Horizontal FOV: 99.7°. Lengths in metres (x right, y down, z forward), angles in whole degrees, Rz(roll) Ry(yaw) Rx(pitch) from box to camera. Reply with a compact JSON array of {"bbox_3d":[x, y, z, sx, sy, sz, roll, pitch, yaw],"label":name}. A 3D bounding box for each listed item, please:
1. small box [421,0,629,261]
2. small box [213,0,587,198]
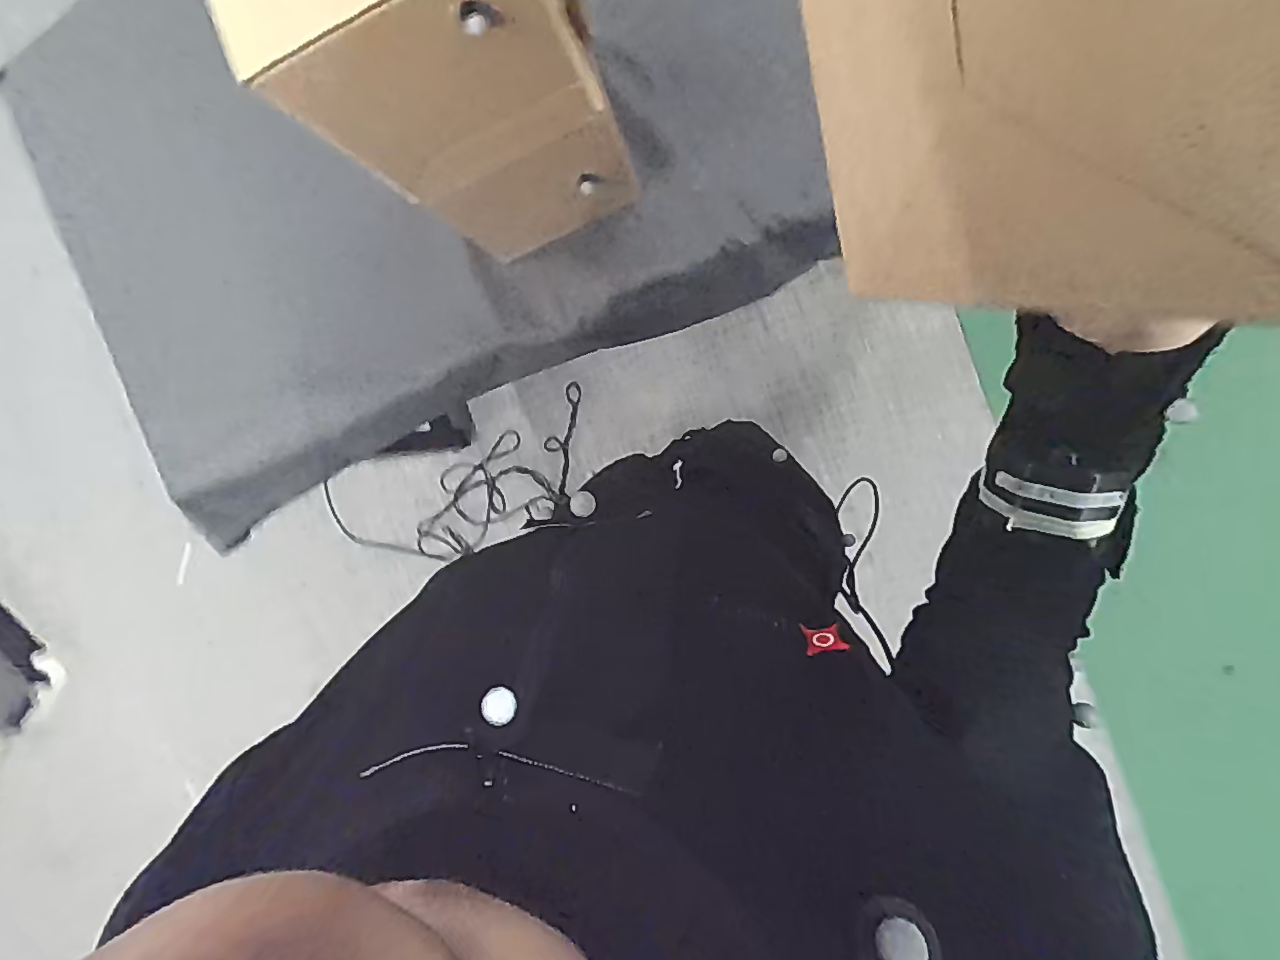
[{"bbox_3d":[-0.121,-0.346,0.529,0.179,0.176,0.168,-21,90,12],"label":"small box"},{"bbox_3d":[-0.159,-0.333,0.371,0.179,0.176,0.168,-20,90,11],"label":"small box"}]
